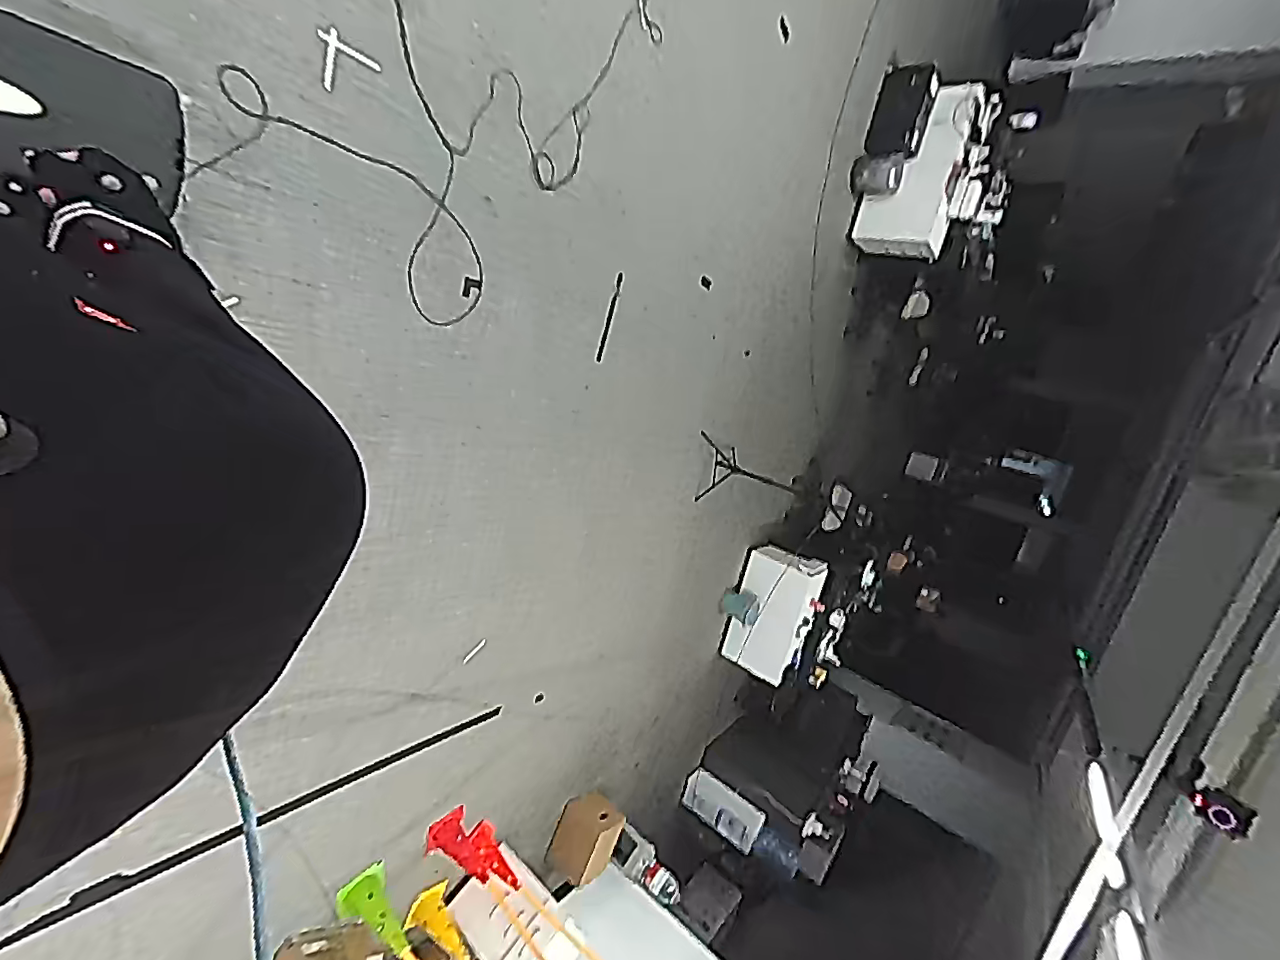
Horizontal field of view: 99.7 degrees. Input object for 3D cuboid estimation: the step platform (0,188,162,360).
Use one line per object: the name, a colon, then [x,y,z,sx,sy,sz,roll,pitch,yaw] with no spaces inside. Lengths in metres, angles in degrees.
step platform: [-1.260,-0.391,0.911,0.684,0.204,0.286,-4,112,-52]
